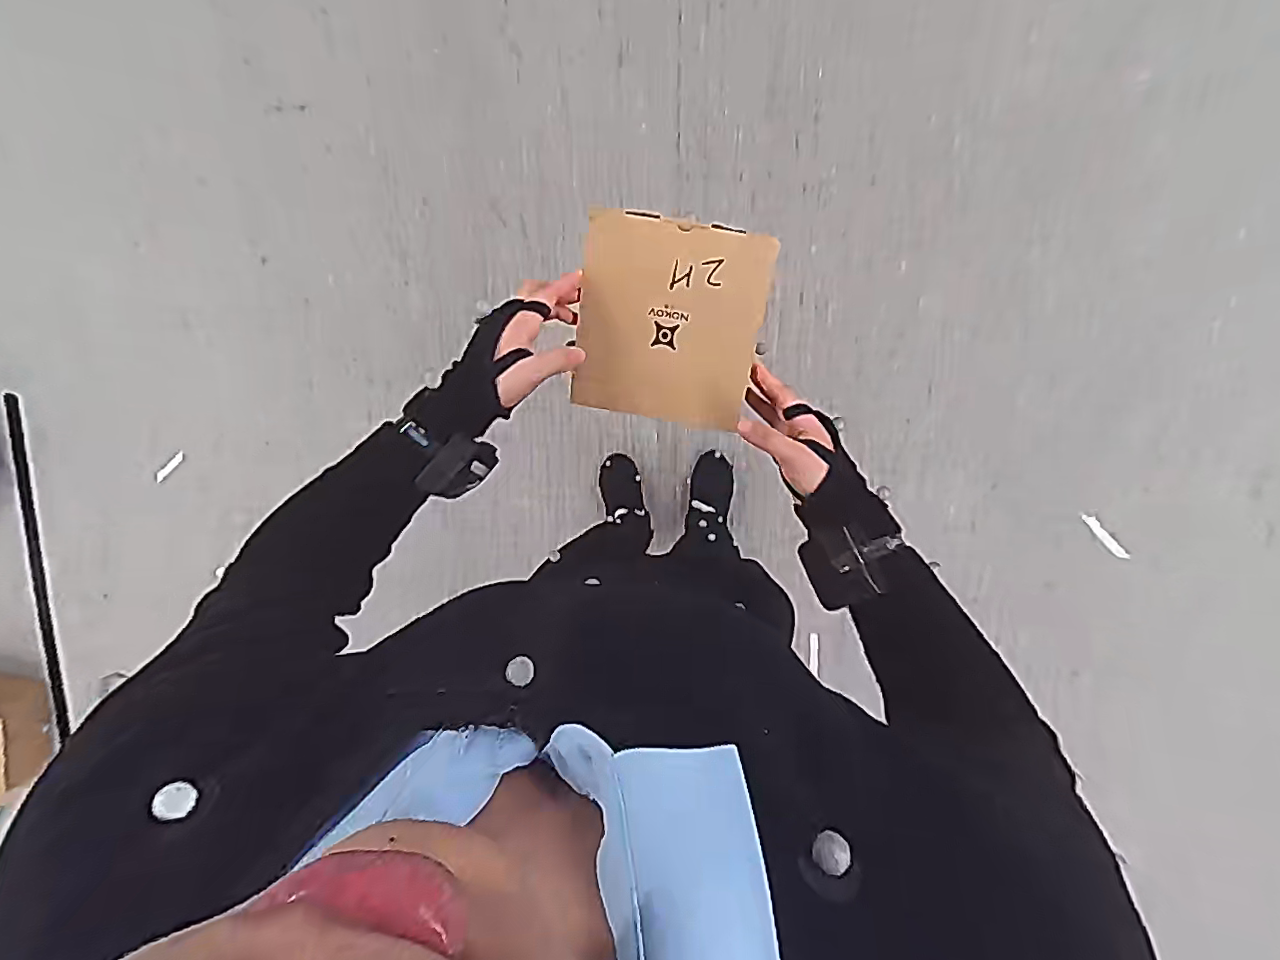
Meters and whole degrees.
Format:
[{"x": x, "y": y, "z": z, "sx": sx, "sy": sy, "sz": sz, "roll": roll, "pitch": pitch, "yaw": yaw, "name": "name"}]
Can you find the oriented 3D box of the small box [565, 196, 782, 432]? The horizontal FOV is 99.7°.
[{"x": 0.032, "y": -0.168, "z": 0.542, "sx": 0.168, "sy": 0.176, "sz": 0.179, "roll": 11, "pitch": 113, "yaw": 2, "name": "small box"}]
